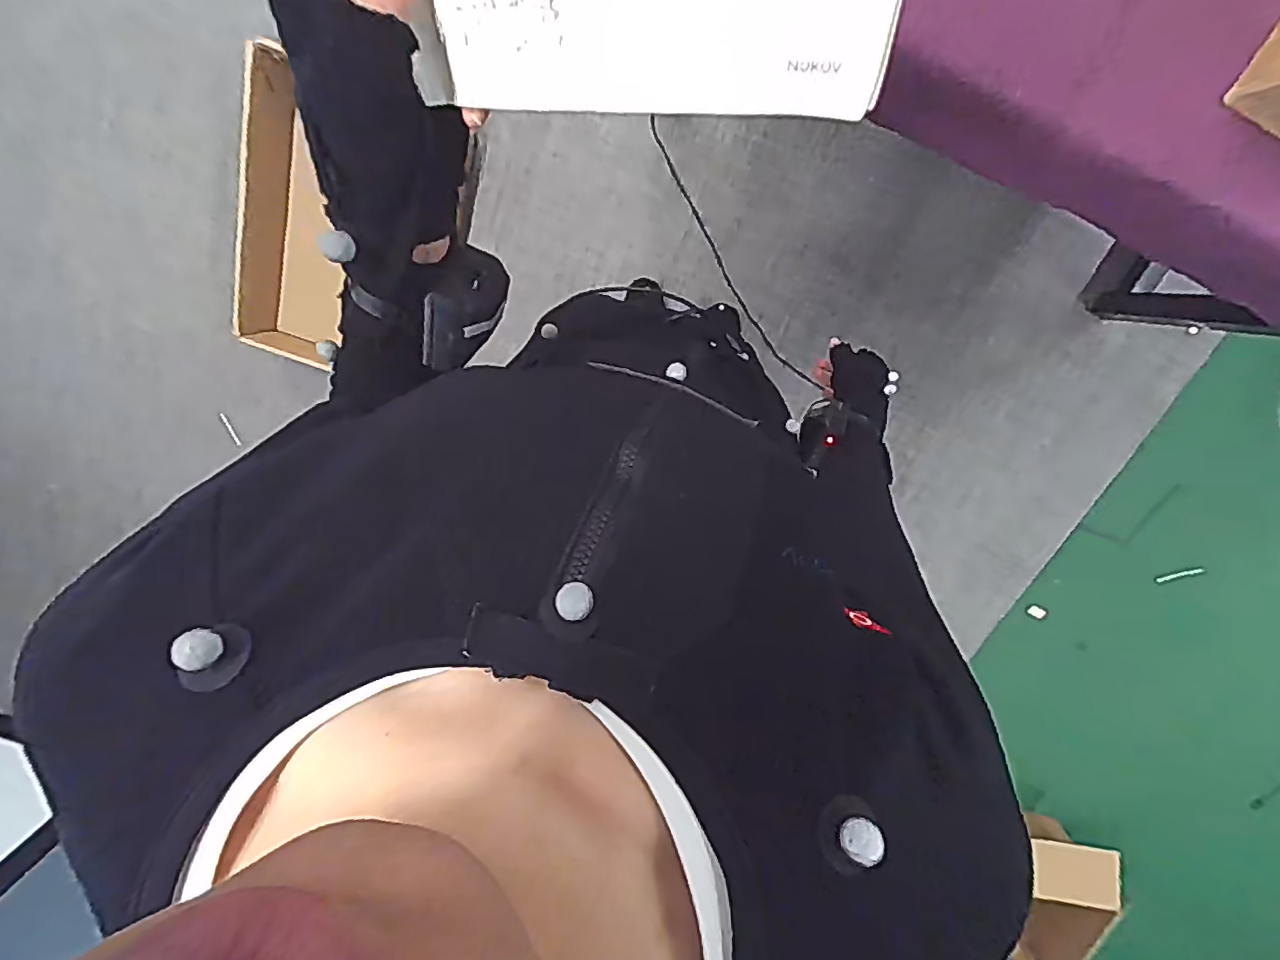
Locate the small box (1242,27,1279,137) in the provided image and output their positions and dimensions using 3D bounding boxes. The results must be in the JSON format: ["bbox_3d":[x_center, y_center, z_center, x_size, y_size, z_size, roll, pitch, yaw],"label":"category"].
[{"bbox_3d":[0.694,-0.385,0.456,0.168,0.176,0.179,26,111,-5],"label":"small box"}]
